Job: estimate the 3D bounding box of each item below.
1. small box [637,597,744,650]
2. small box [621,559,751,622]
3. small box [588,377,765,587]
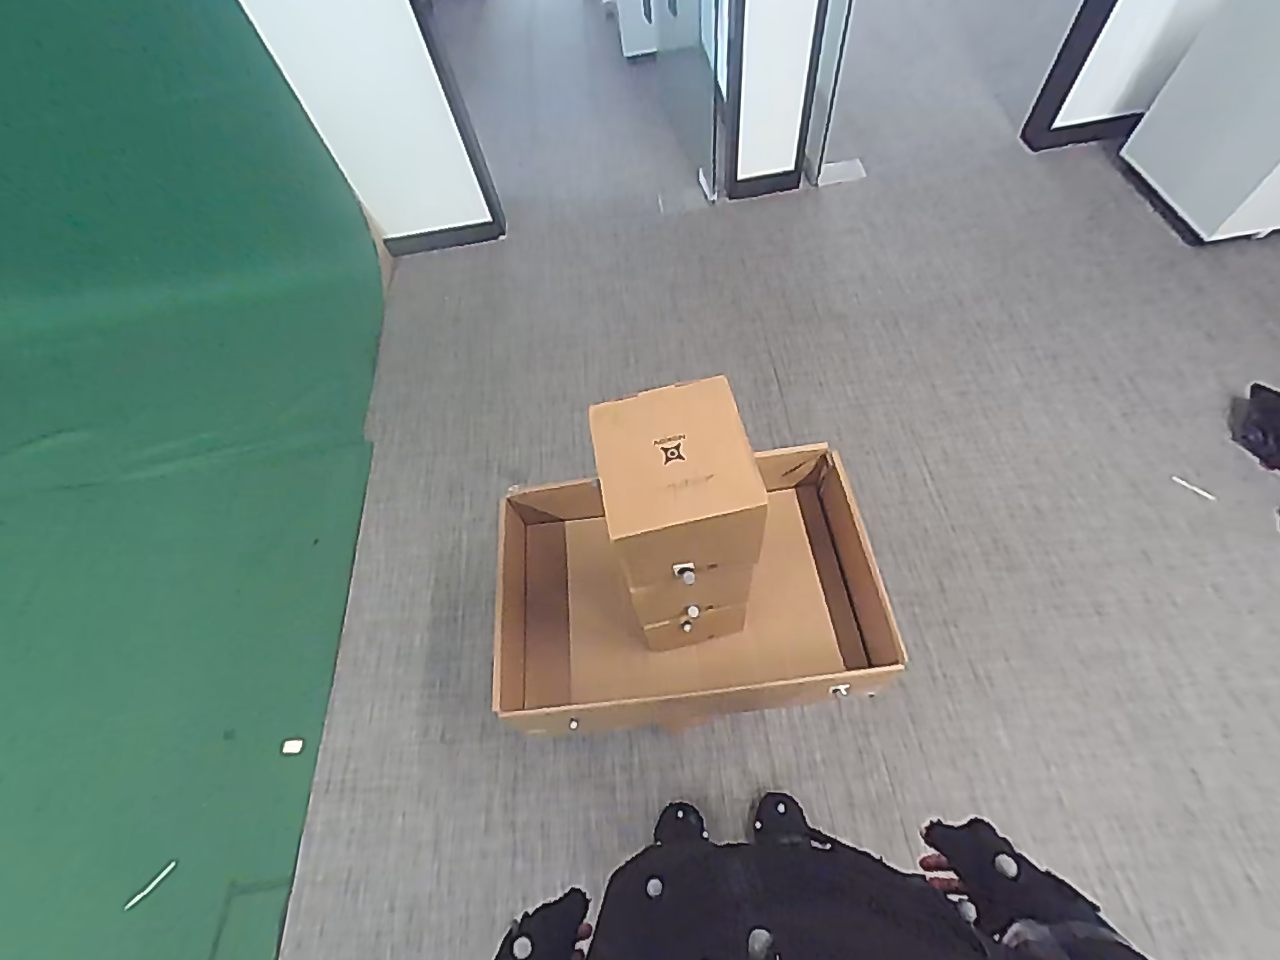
[{"bbox_3d":[0.074,0.173,0.935,0.168,0.176,0.179,-14,59,1],"label":"small box"},{"bbox_3d":[0.055,0.089,0.795,0.168,0.176,0.179,-13,60,0],"label":"small box"},{"bbox_3d":[0.043,0.009,0.655,0.168,0.176,0.179,-14,60,2],"label":"small box"}]
